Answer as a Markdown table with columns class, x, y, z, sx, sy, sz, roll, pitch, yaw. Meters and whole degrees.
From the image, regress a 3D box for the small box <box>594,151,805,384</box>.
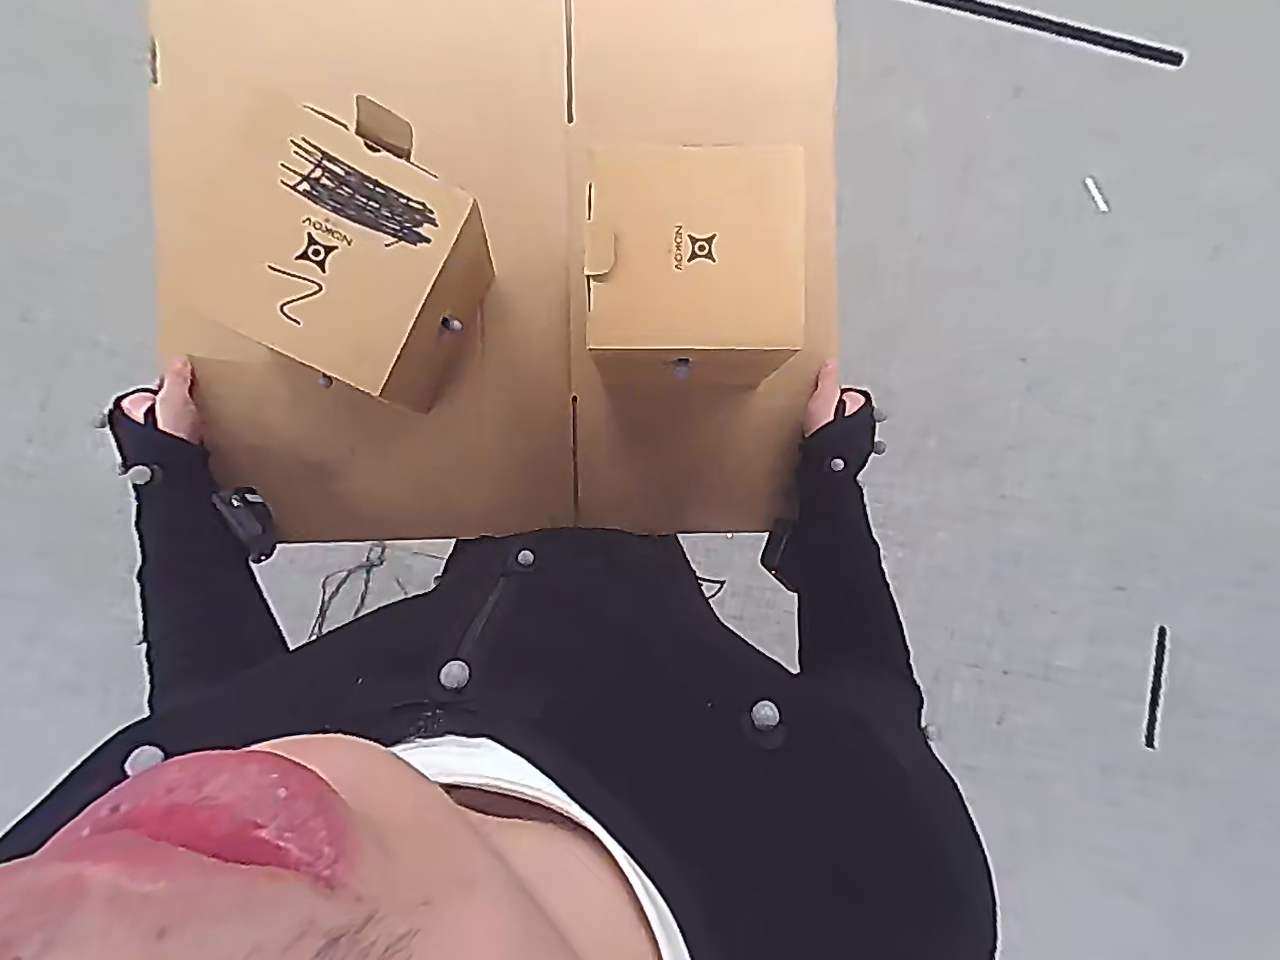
| class | x | y | z | sx | sy | sz | roll | pitch | yaw |
| --- | --- | --- | --- | --- | --- | --- | --- | --- | --- |
| small box | 0.050 | -0.191 | 0.529 | 0.179 | 0.176 | 0.168 | 0 | 90 | 1 |
